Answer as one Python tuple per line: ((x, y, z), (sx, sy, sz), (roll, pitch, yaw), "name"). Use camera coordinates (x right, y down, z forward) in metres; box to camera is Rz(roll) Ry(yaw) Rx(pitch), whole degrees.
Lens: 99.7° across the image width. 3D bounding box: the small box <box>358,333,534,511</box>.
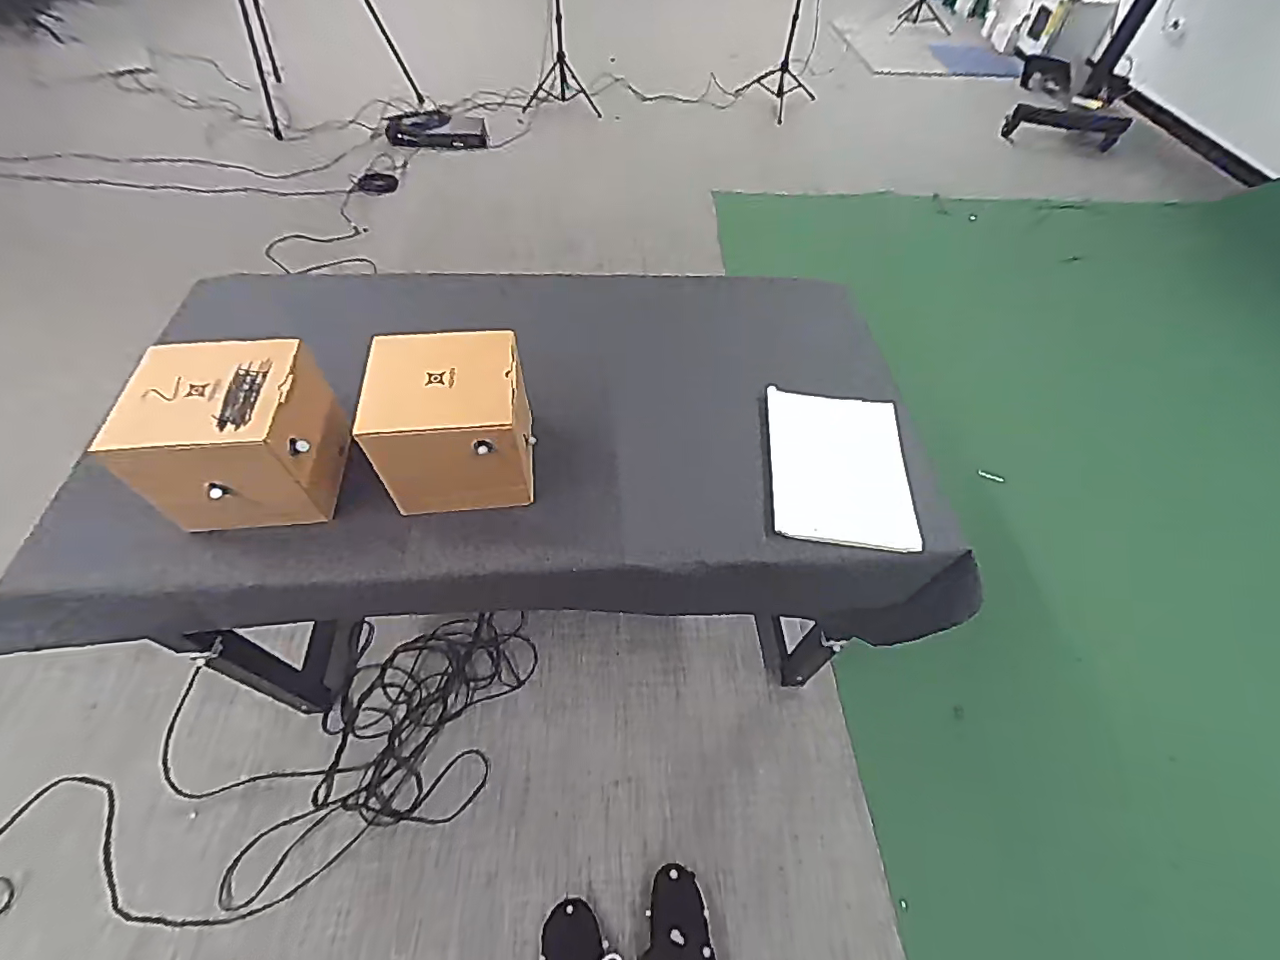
((-0.239, -0.072, 0.712), (0.179, 0.176, 0.168), (-5, 54, -7), "small box")
